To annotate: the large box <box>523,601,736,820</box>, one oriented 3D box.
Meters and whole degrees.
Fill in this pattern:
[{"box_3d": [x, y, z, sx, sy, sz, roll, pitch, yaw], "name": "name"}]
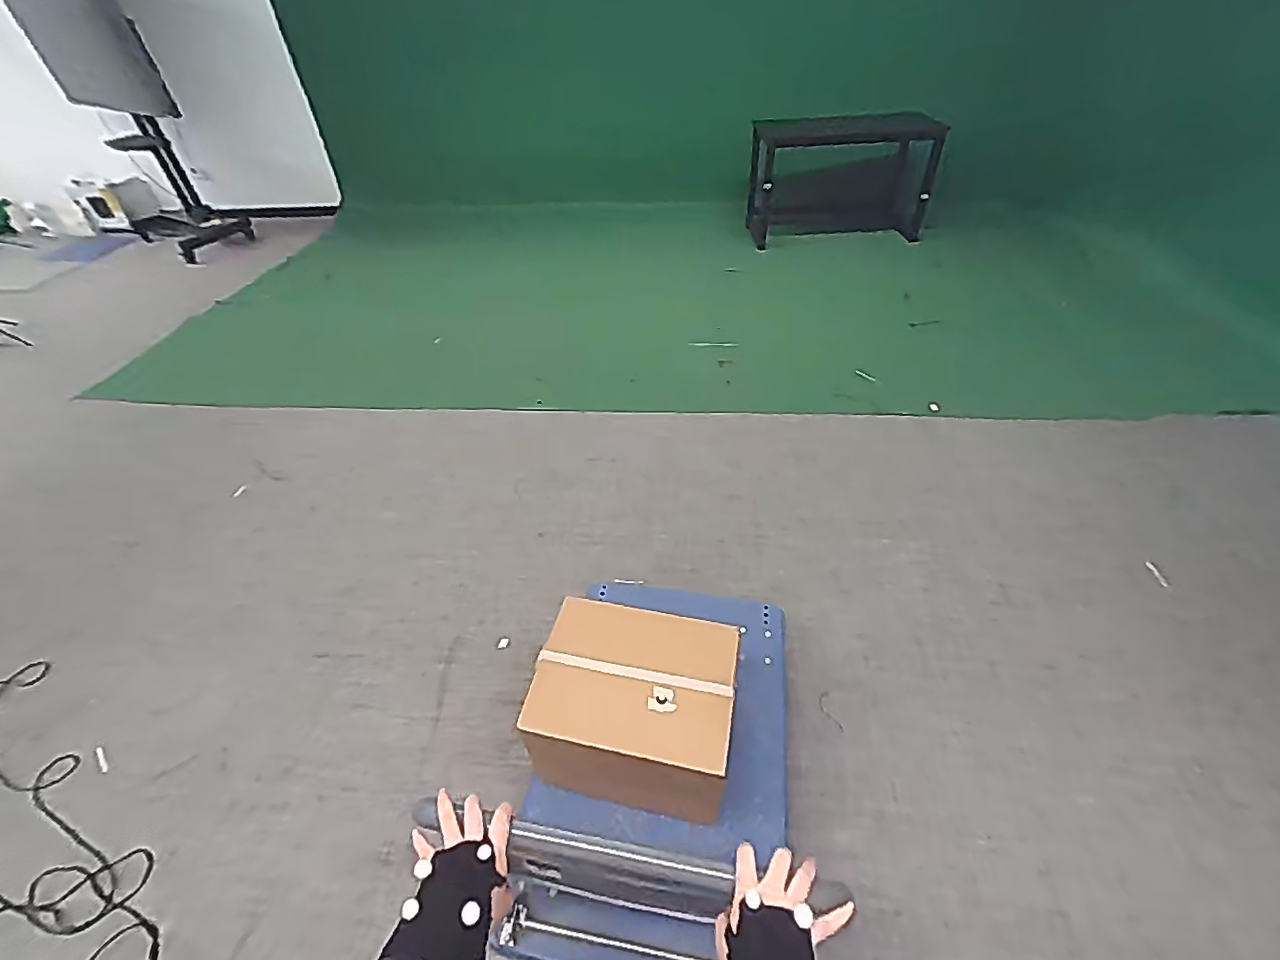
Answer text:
[{"box_3d": [-0.009, 0.519, 1.230, 0.408, 0.320, 0.320, 8, 44, 9], "name": "large box"}]
